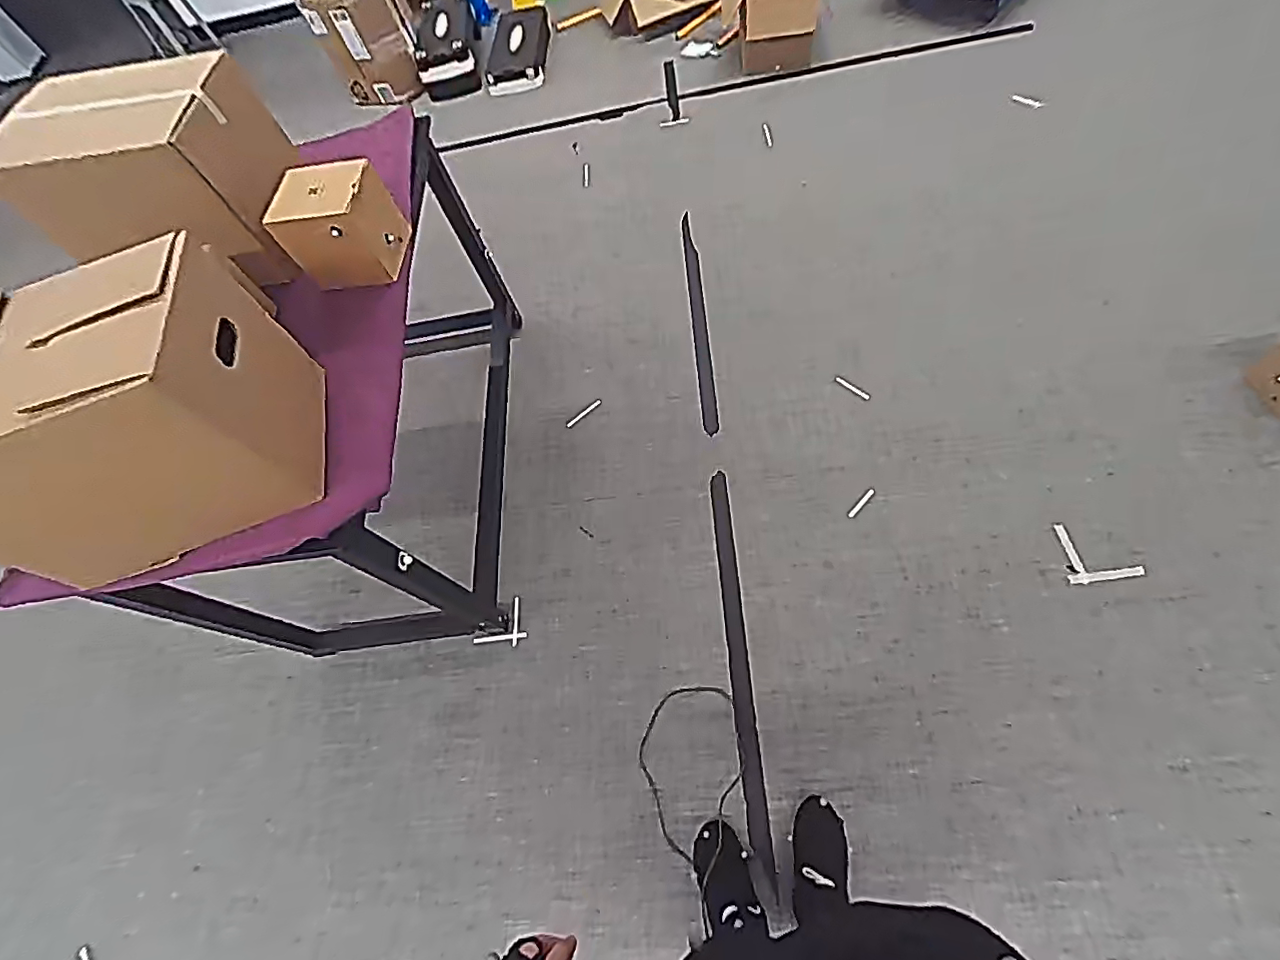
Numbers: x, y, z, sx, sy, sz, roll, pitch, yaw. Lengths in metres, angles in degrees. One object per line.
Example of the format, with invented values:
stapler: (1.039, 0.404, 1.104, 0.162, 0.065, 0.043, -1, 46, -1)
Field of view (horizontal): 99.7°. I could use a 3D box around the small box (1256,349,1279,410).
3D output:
small box: (1.760, -0.277, 1.381, 0.179, 0.176, 0.168, -10, 62, 4)
